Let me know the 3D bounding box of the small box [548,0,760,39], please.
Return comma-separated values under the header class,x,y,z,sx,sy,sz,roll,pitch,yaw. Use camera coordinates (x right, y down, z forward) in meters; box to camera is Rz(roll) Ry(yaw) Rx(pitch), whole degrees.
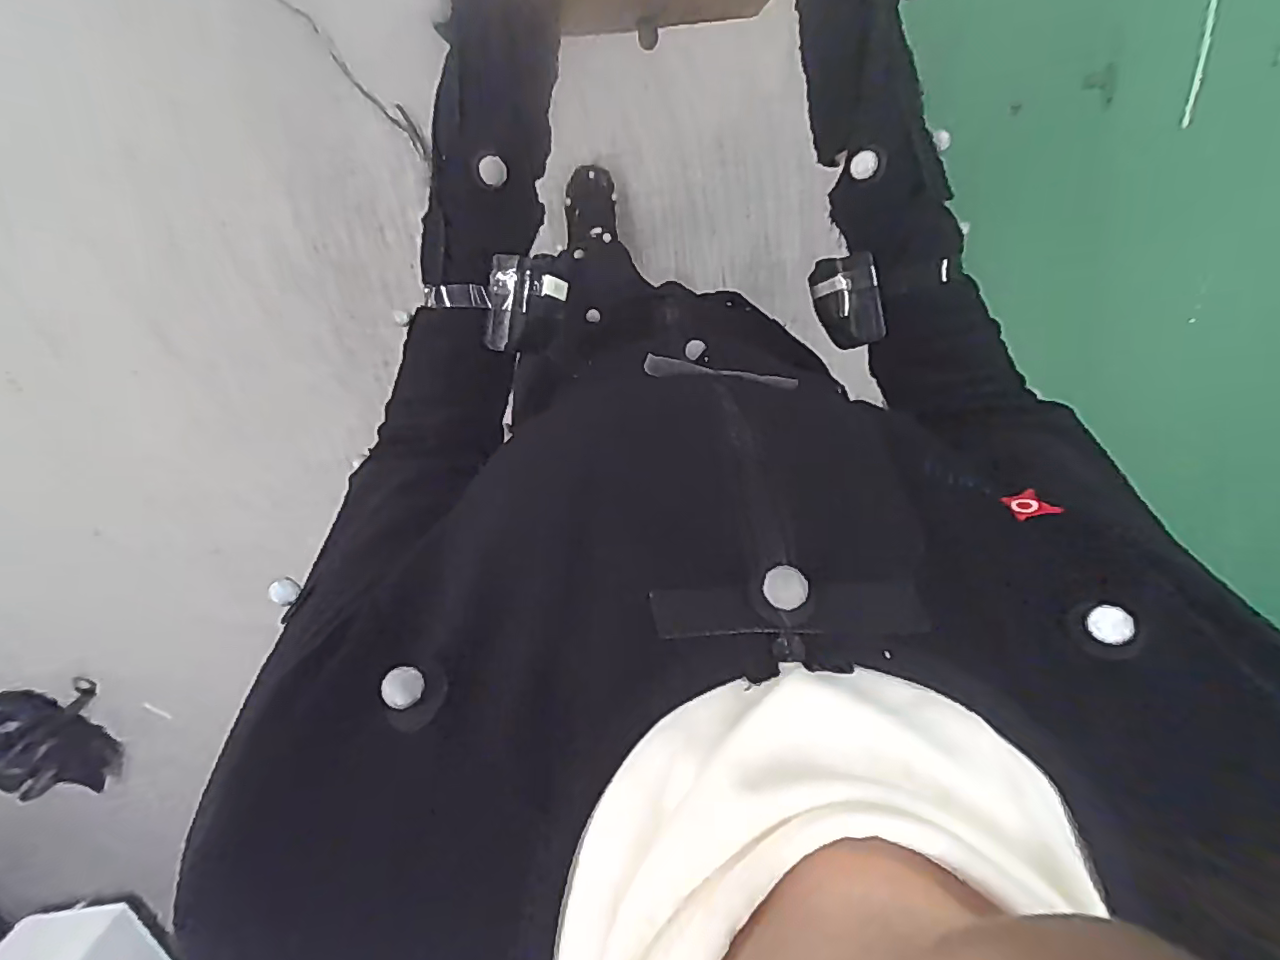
class,x,y,z,sx,sy,sz,roll,pitch,yaw
small box,0.006,-0.405,0.326,0.168,0.176,0.179,-7,117,0
